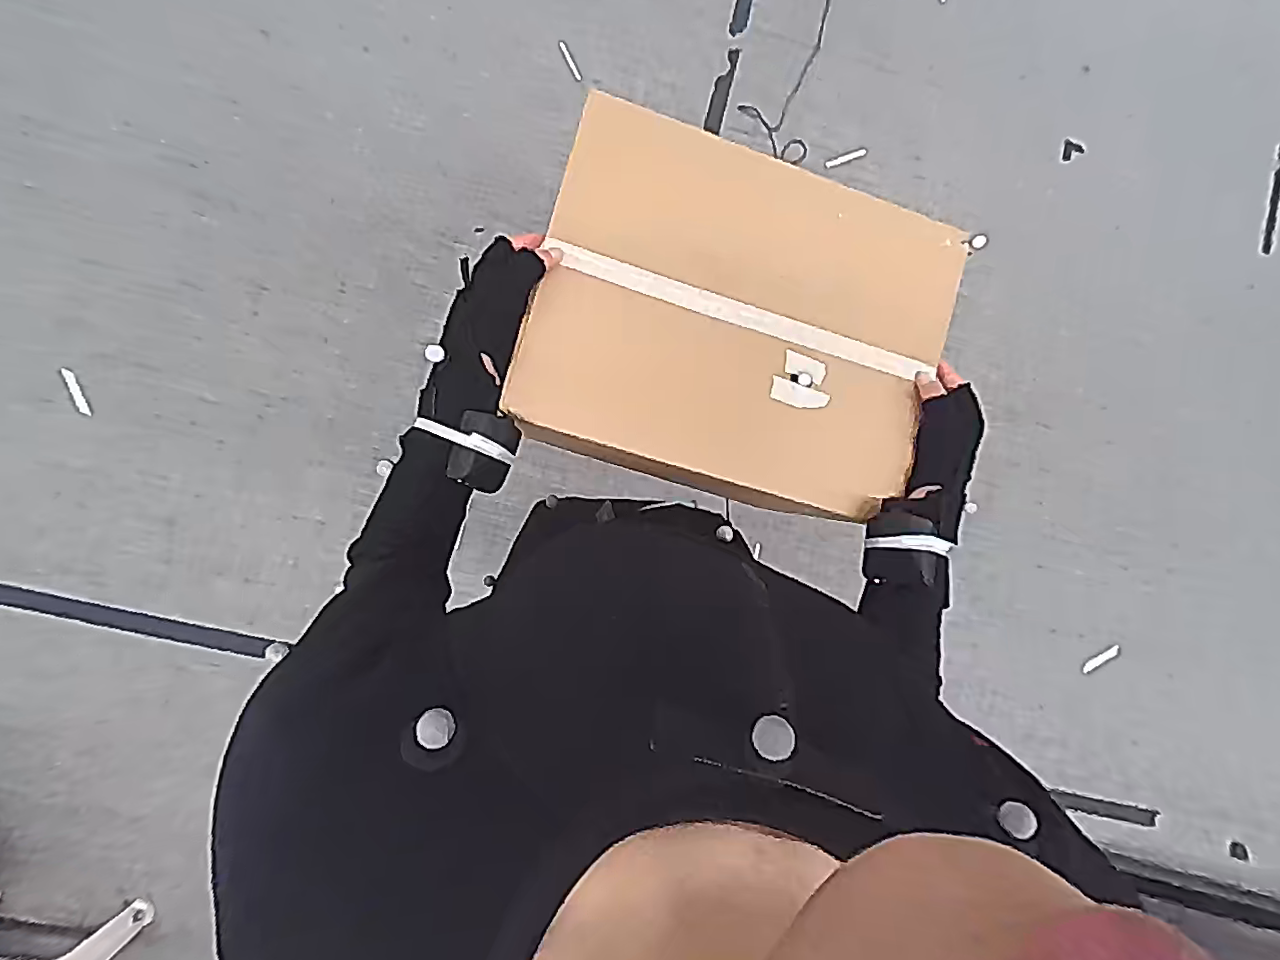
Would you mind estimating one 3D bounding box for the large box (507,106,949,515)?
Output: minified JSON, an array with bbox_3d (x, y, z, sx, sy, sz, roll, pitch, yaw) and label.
[{"bbox_3d":[0.076,-0.161,0.682,0.408,0.320,0.320,16,89,-9],"label":"large box"}]
